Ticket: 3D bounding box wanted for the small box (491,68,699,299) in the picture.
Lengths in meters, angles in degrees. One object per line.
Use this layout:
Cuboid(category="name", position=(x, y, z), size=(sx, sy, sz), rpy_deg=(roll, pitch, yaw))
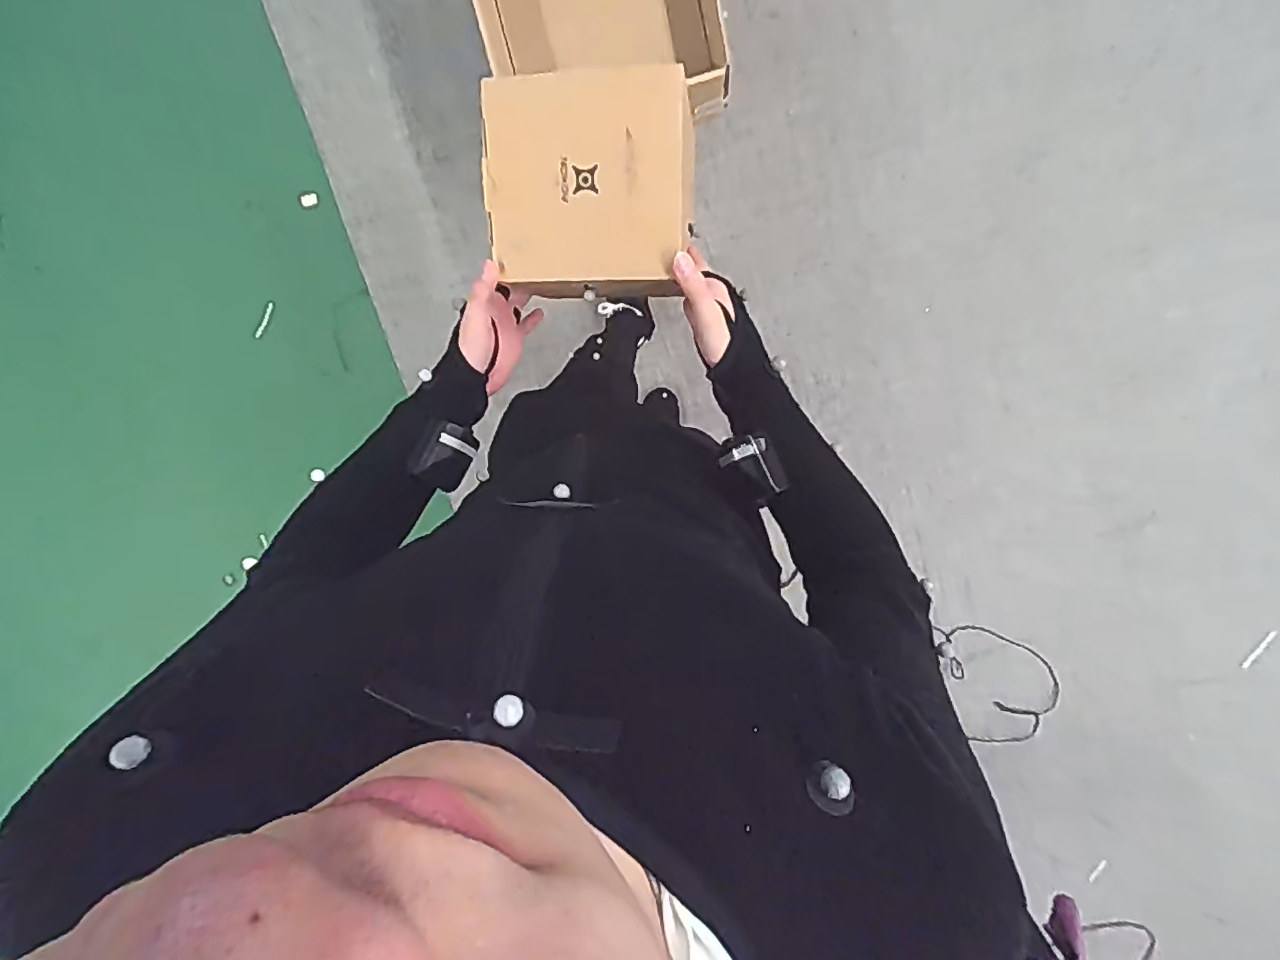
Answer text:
Cuboid(category="small box", position=(-0.034, -0.276, 0.543), size=(0.179, 0.176, 0.168), rpy_deg=(3, 103, 6))
